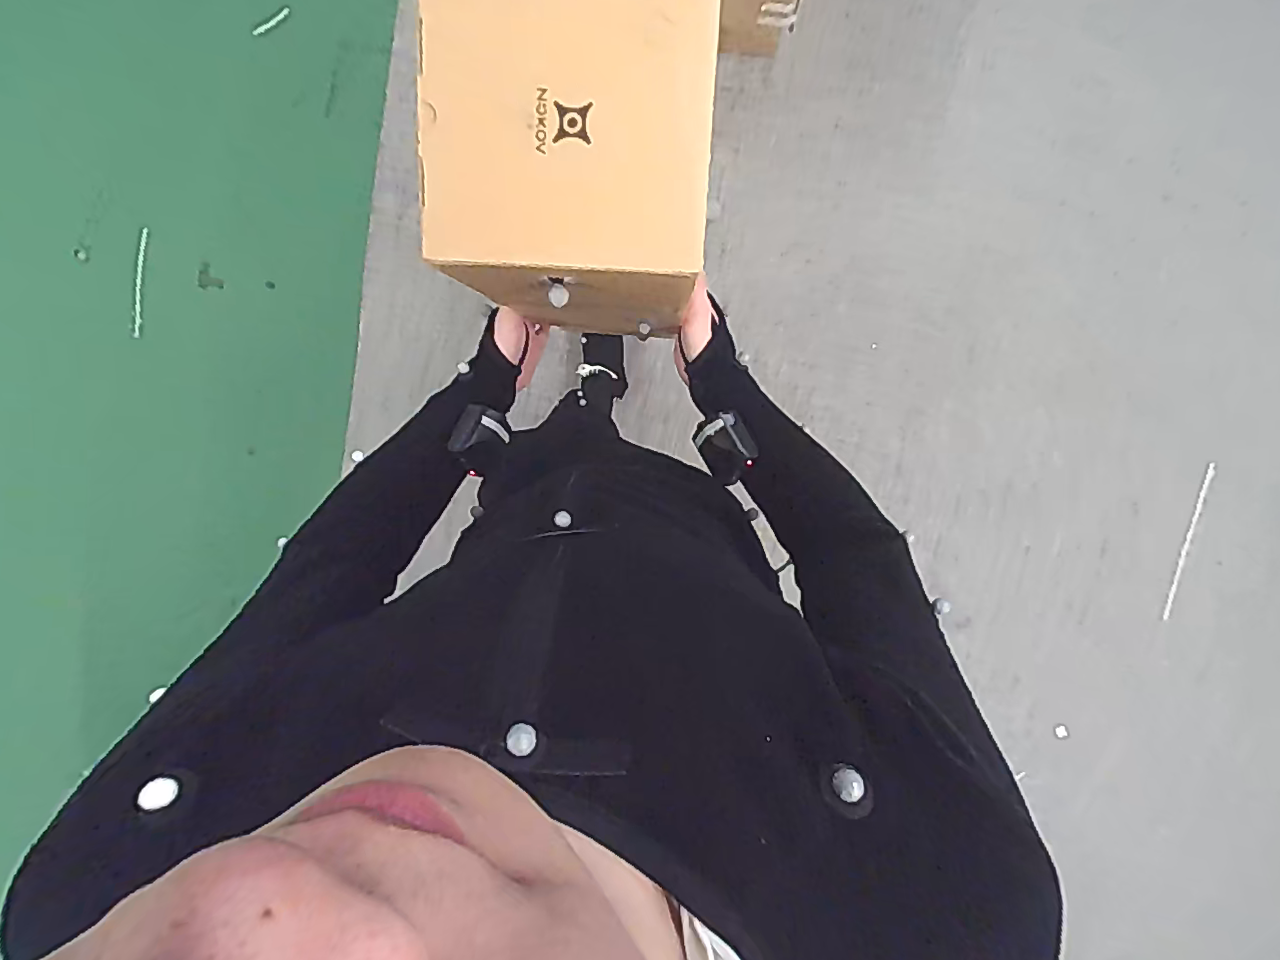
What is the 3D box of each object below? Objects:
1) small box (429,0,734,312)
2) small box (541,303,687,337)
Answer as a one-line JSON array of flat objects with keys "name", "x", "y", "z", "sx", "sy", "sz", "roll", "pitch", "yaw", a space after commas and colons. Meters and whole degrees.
[{"name": "small box", "x": -0.036, "y": -0.221, "z": 0.397, "sx": 0.179, "sy": 0.176, "sz": 0.168, "roll": 4, "pitch": 100, "yaw": 2}, {"name": "small box", "x": -0.024, "y": -0.286, "z": 0.718, "sx": 0.179, "sy": 0.176, "sz": 0.168, "roll": 5, "pitch": 99, "yaw": 1}]
